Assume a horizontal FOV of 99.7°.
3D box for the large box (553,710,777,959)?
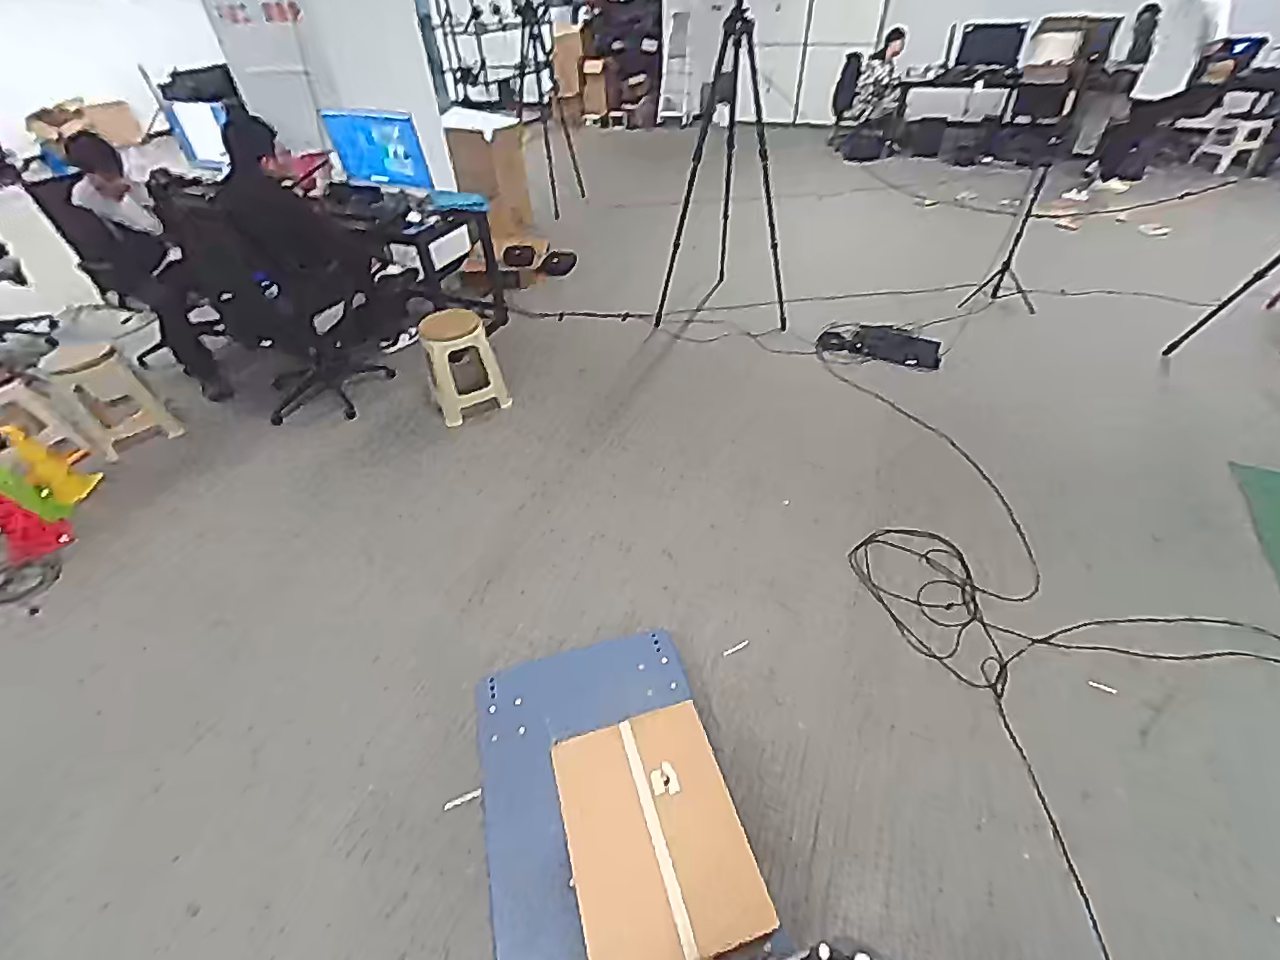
[{"bbox_3d":[0.032,0.769,1.104,0.320,0.320,0.408,-12,42,-12],"label":"large box"}]
